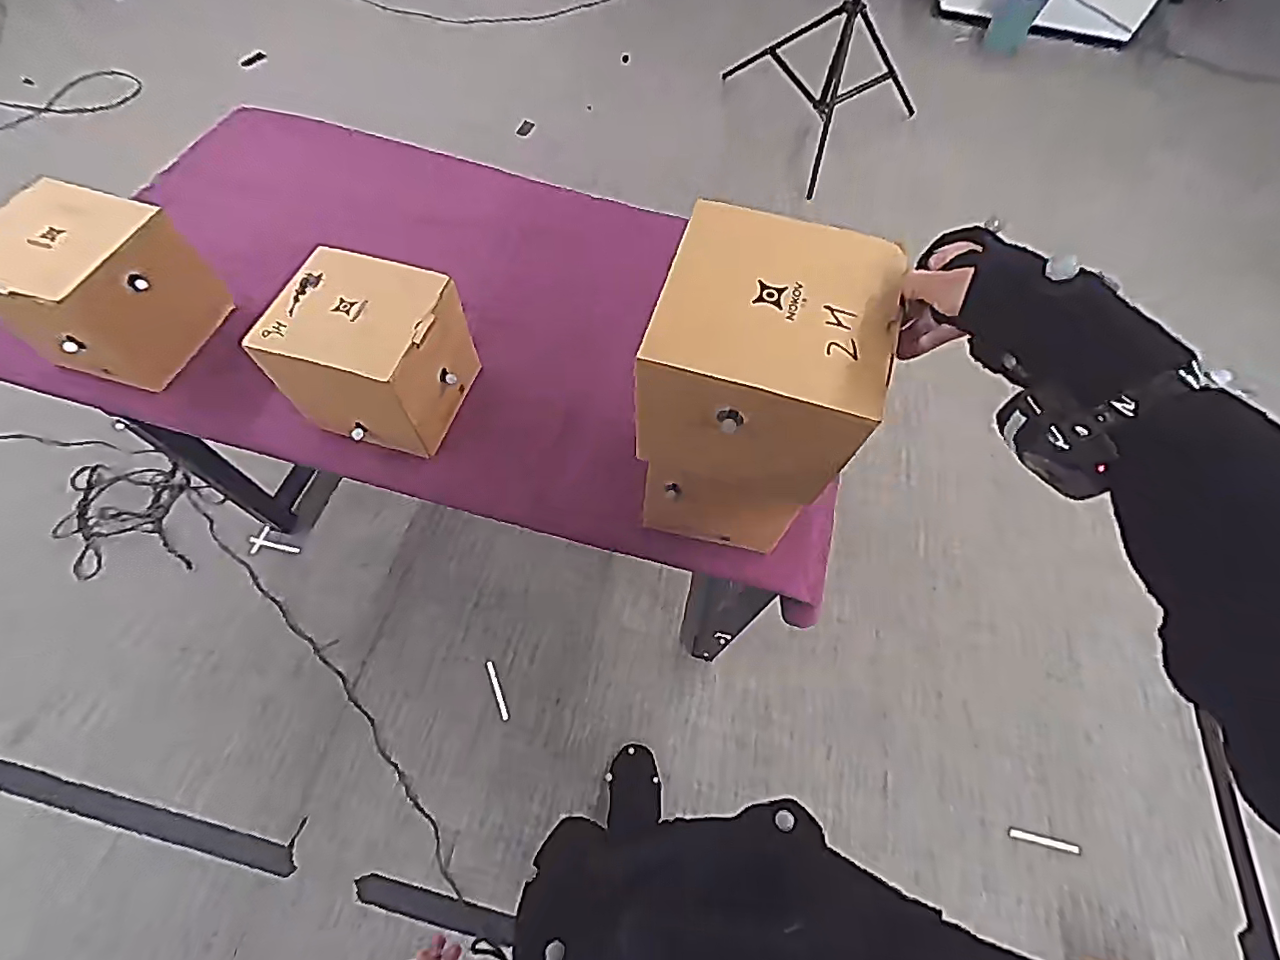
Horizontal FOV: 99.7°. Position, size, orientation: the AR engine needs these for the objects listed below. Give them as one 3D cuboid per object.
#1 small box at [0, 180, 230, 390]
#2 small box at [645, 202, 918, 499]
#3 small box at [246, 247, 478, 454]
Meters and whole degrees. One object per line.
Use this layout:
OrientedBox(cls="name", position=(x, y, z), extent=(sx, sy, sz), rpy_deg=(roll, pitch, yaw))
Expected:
OrientedBox(cls="small box", position=(-0.694, -0.245, 0.704), extent=(0.168, 0.176, 0.179), rpy_deg=(16, 61, 2))
OrientedBox(cls="small box", position=(0.109, -0.100, 0.471), extent=(0.179, 0.176, 0.168), rpy_deg=(16, 68, 6))
OrientedBox(cls="small box", position=(-0.324, -0.152, 0.681), extent=(0.179, 0.176, 0.168), rpy_deg=(15, 63, 4))
